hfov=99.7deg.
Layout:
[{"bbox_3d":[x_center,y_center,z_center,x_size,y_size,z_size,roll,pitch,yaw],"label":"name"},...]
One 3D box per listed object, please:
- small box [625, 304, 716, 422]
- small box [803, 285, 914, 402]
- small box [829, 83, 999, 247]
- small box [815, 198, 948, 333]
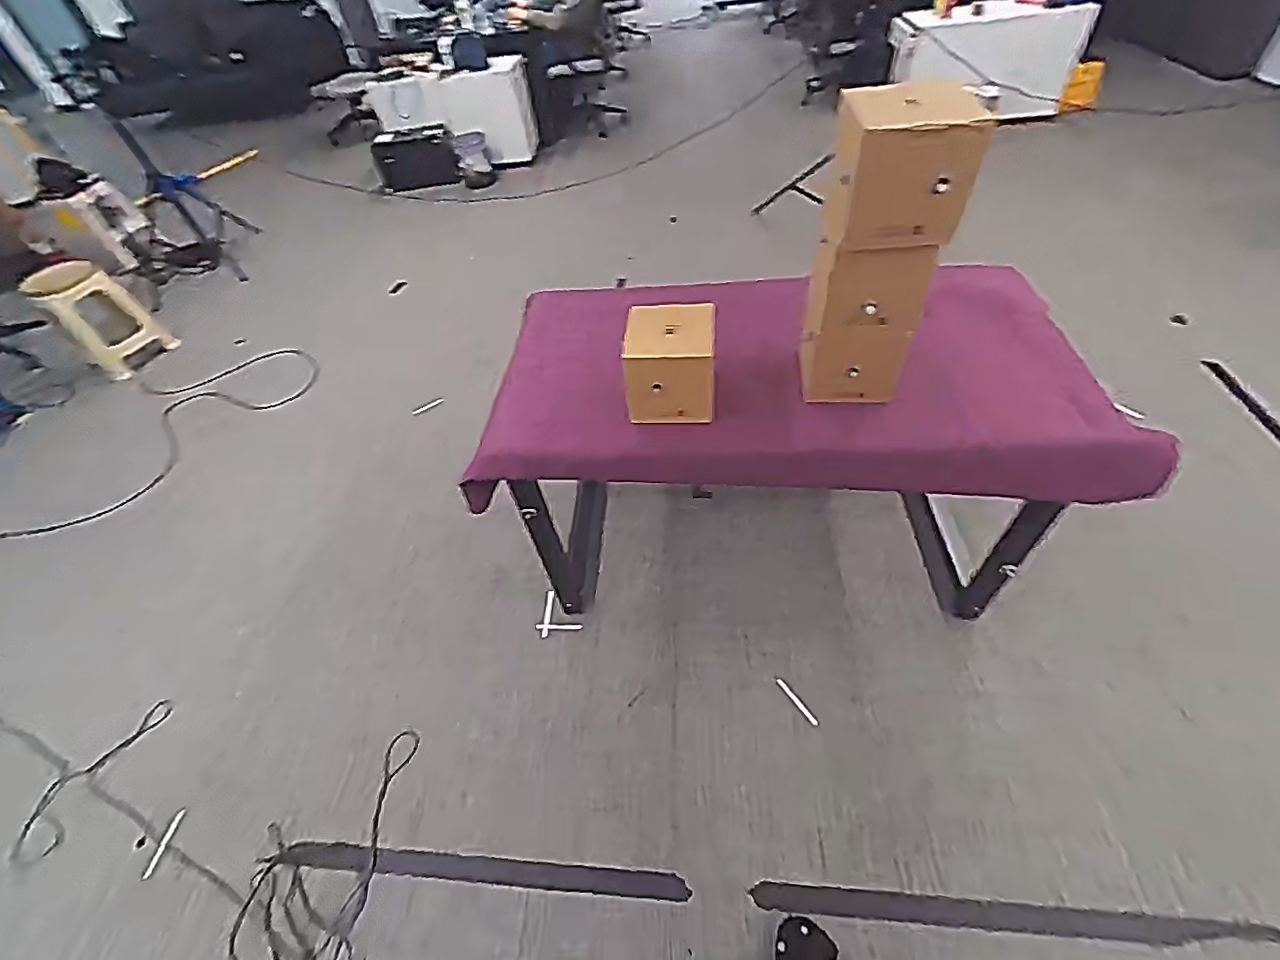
[{"bbox_3d":[0.069,-0.230,1.086,0.168,0.176,0.179,0,49,7],"label":"small box"},{"bbox_3d":[0.422,-0.269,1.073,0.168,0.176,0.179,2,50,9],"label":"small box"},{"bbox_3d":[0.394,-0.467,0.814,0.168,0.176,0.179,0,49,6],"label":"small box"},{"bbox_3d":[0.409,-0.379,0.951,0.168,0.176,0.179,1,50,9],"label":"small box"}]
